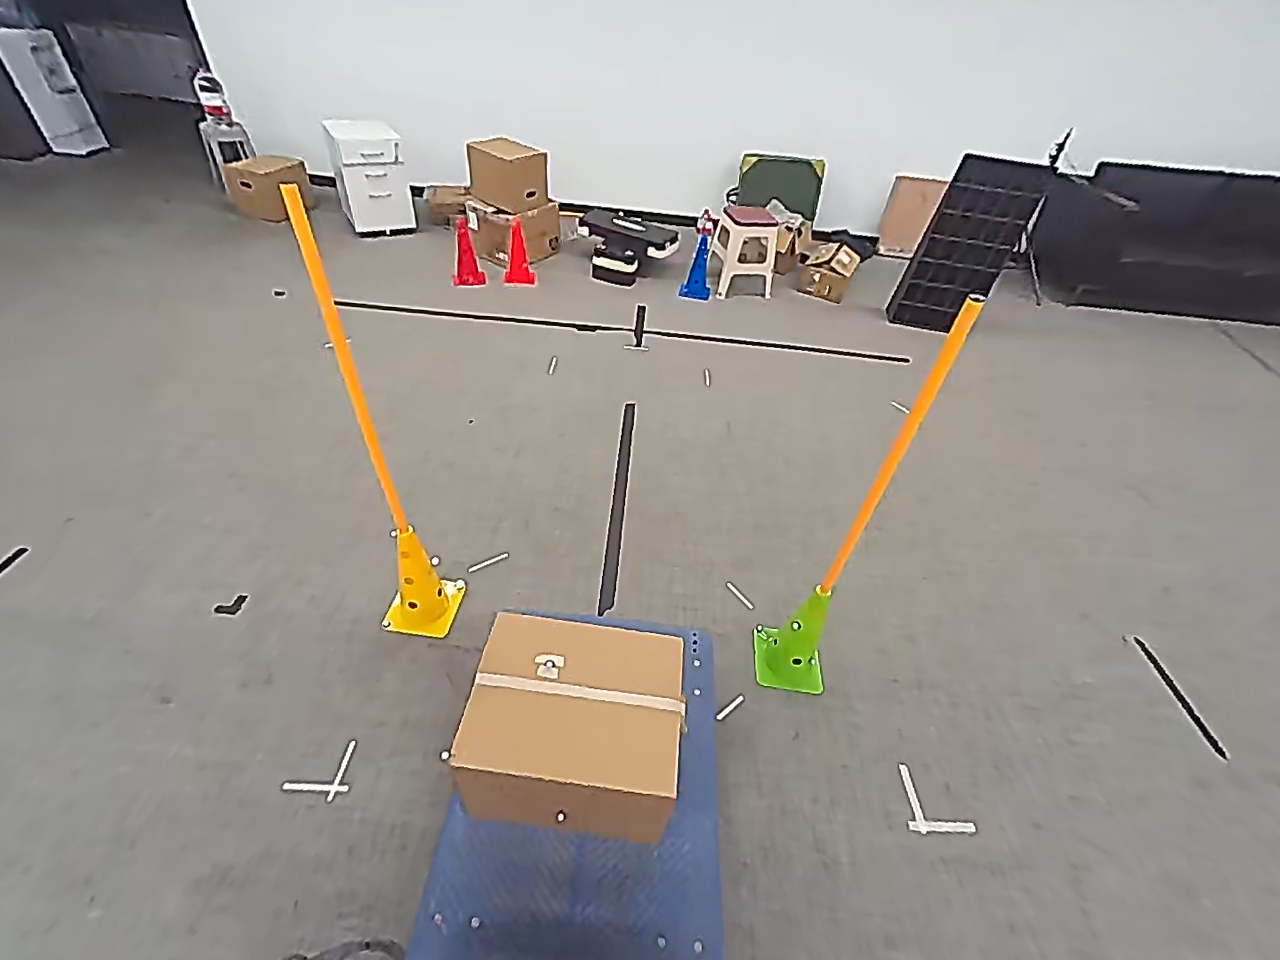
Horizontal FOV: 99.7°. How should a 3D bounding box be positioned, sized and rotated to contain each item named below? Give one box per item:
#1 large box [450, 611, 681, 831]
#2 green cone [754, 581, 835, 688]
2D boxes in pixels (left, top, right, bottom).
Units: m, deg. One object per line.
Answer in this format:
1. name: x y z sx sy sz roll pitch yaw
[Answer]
1. large box: -0.133 0.516 1.153 0.408 0.320 0.320 8 43 1
2. green cone: 0.474 0.415 1.558 0.202 0.368 0.200 10 43 0
